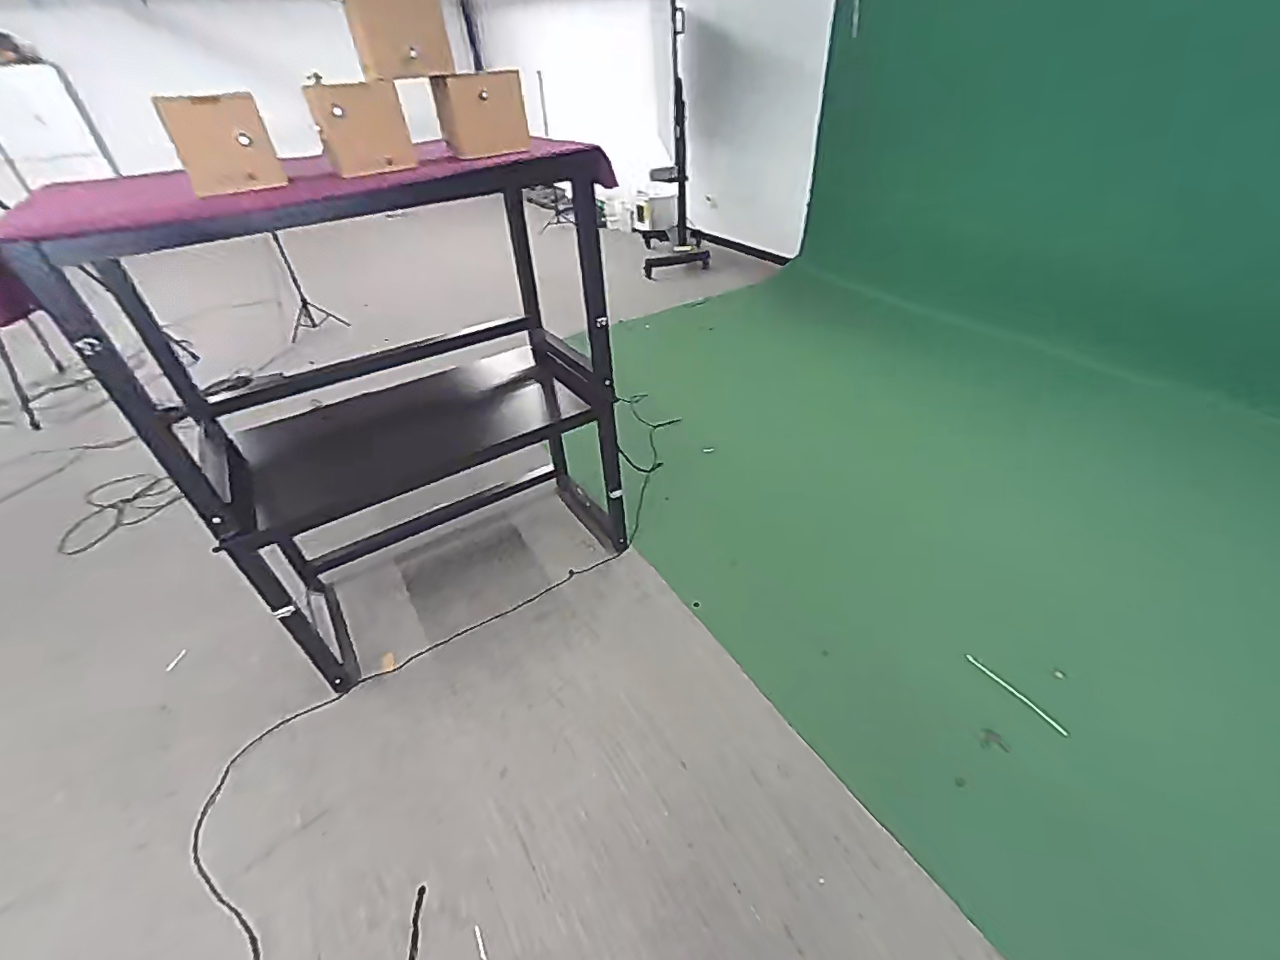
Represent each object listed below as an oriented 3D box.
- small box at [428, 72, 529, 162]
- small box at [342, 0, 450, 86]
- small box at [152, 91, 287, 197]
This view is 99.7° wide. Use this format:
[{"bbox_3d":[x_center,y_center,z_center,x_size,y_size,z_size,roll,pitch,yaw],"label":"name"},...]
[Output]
[{"bbox_3d":[-0.398,-0.901,1.344,0.179,0.176,0.168,-24,42,-24],"label":"small box"},{"bbox_3d":[-0.531,-0.975,1.184,0.179,0.176,0.168,-22,41,-23],"label":"small box"},{"bbox_3d":[-0.857,-0.694,1.118,0.168,0.176,0.179,-22,41,-23],"label":"small box"}]
